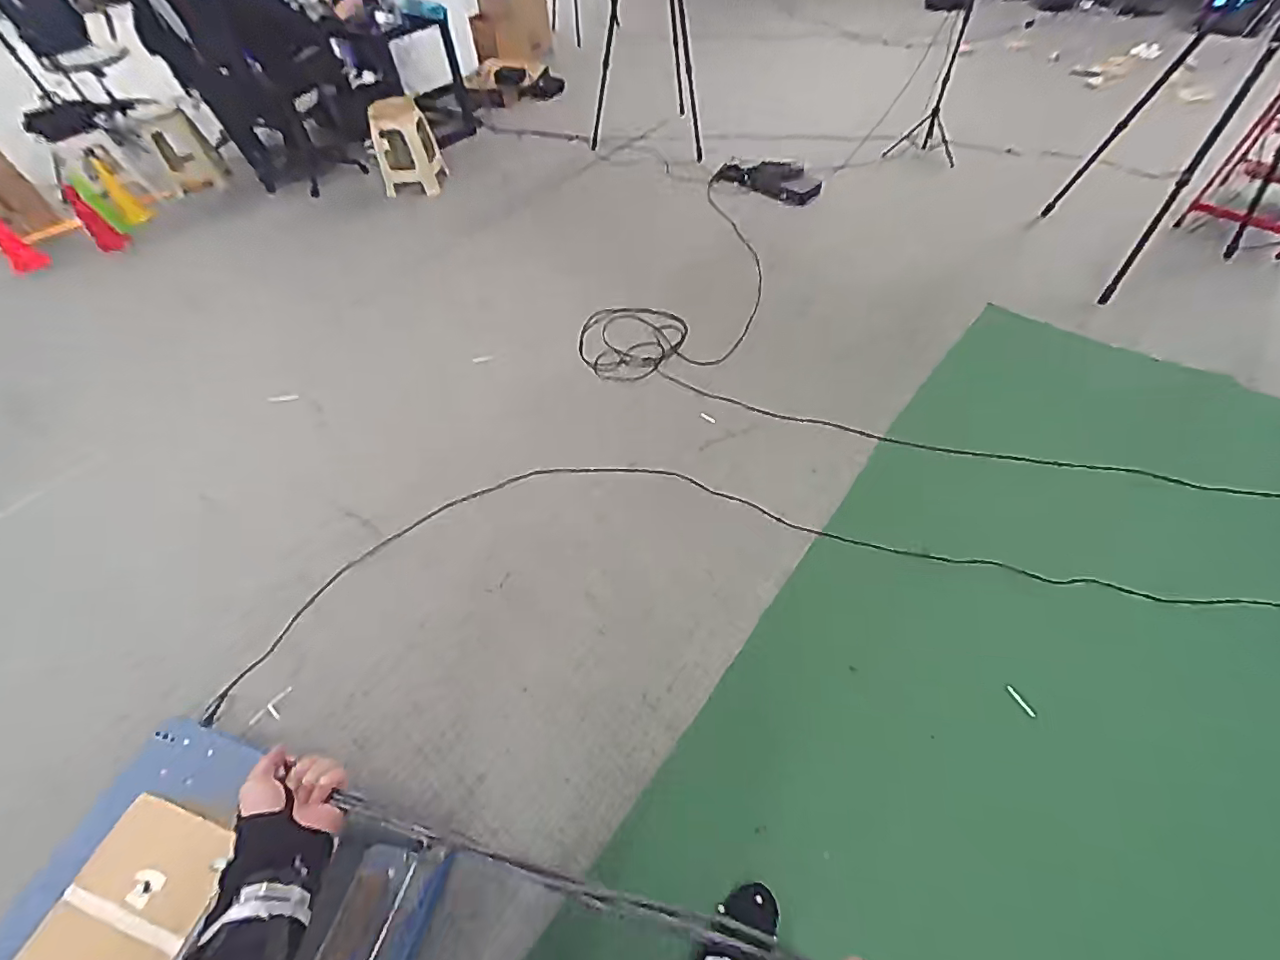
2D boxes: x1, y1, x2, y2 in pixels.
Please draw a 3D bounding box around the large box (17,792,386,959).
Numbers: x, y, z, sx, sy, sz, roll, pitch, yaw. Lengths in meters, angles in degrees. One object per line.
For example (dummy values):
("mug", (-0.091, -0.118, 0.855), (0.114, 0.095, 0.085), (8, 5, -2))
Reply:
("large box", (-0.778, 0.829, 1.004), (0.408, 0.320, 0.320), (12, 53, 14))
